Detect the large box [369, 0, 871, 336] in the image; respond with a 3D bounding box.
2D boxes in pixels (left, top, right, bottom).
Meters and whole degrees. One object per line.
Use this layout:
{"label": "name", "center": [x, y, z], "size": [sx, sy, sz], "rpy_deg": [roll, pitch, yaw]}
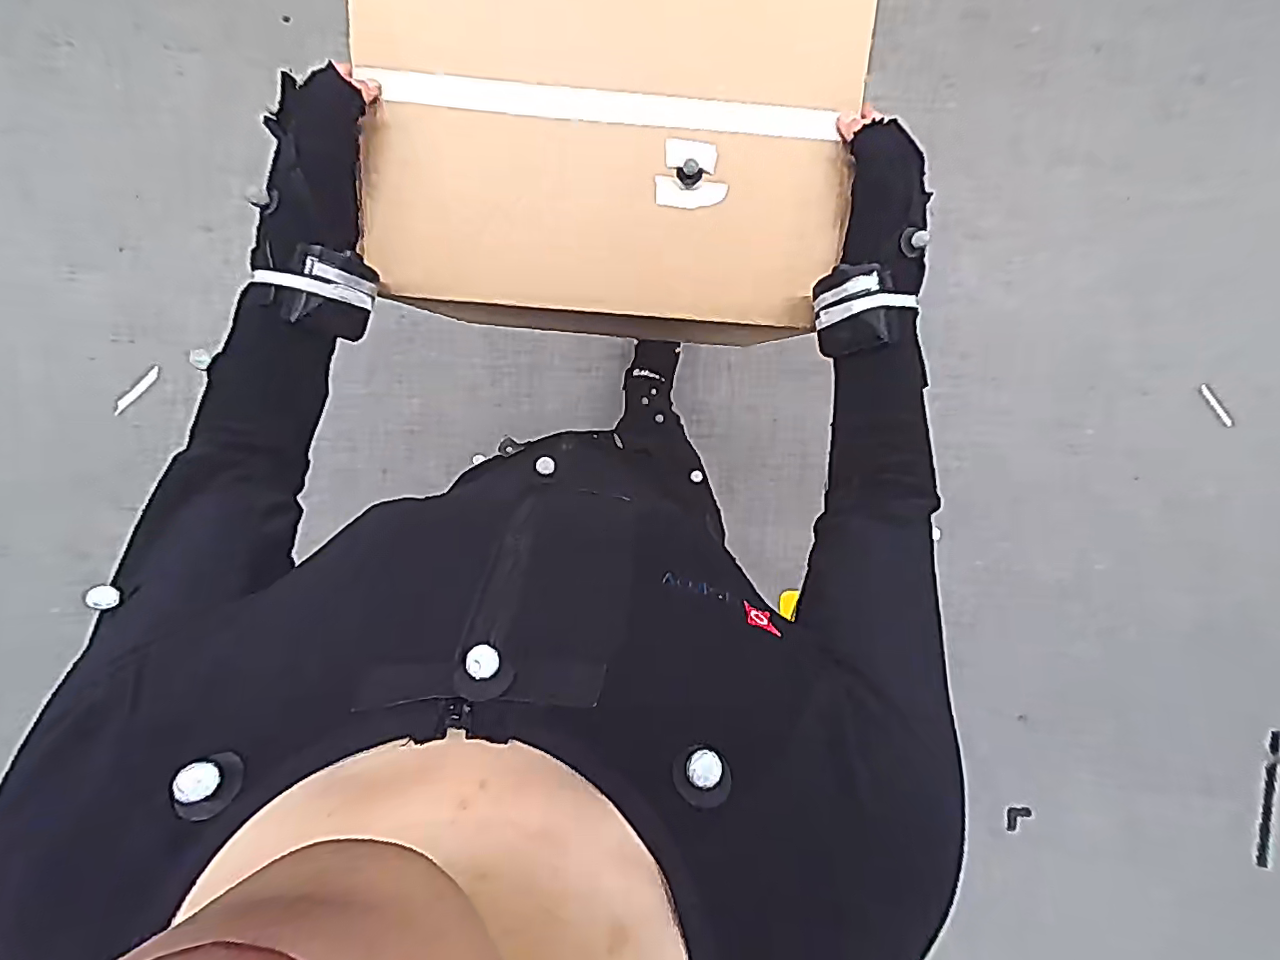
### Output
{"label": "large box", "center": [-0.025, -0.335, 0.586], "size": [0.408, 0.320, 0.320], "rpy_deg": [3, 102, -3]}
